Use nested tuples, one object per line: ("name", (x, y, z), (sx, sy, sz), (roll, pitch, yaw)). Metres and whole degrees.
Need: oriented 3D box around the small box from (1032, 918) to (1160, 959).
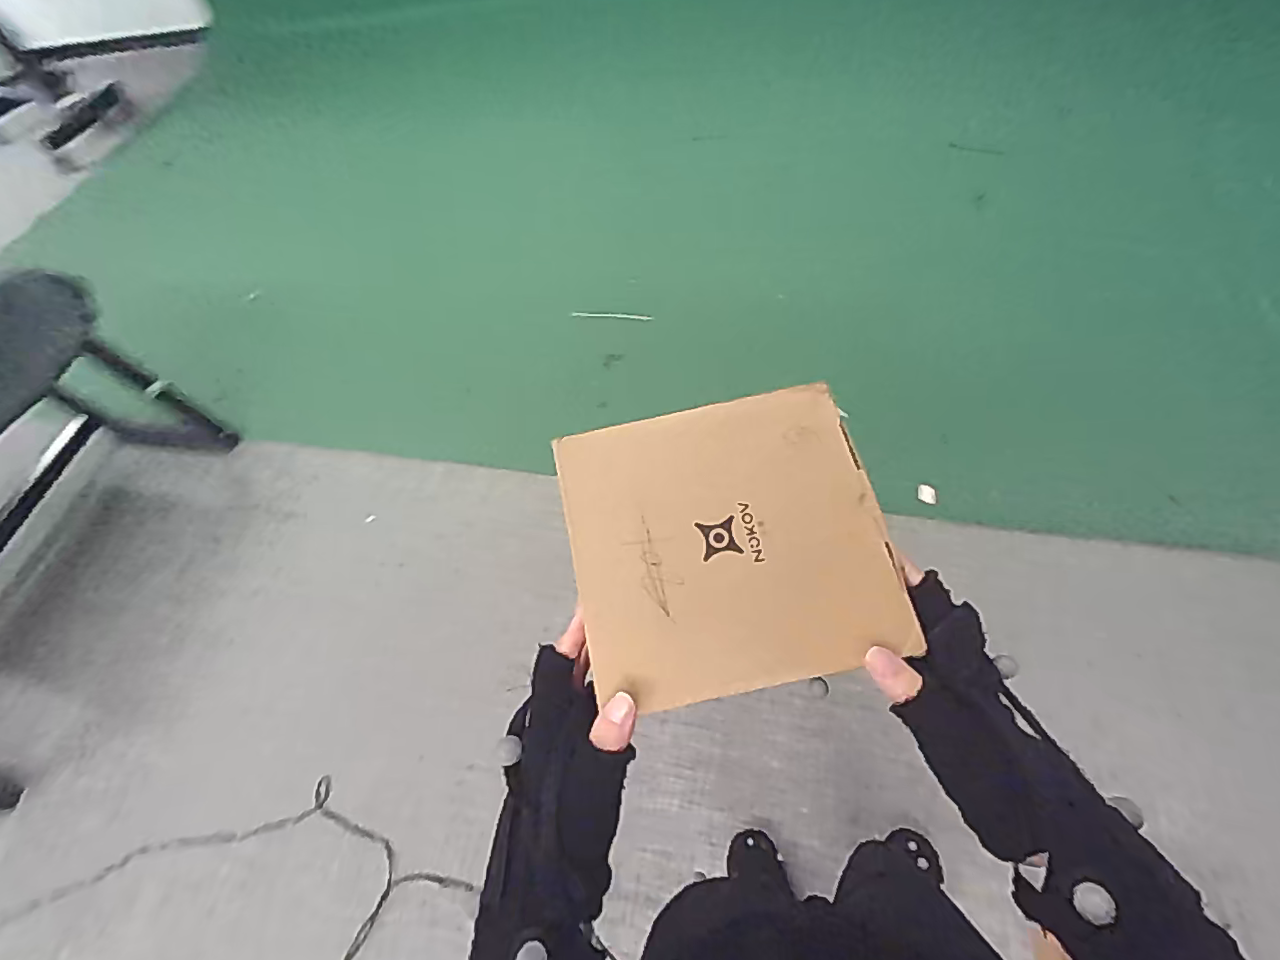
("small box", (0.785, 0.869, 0.893), (0.168, 0.176, 0.179), (5, 63, 13))
